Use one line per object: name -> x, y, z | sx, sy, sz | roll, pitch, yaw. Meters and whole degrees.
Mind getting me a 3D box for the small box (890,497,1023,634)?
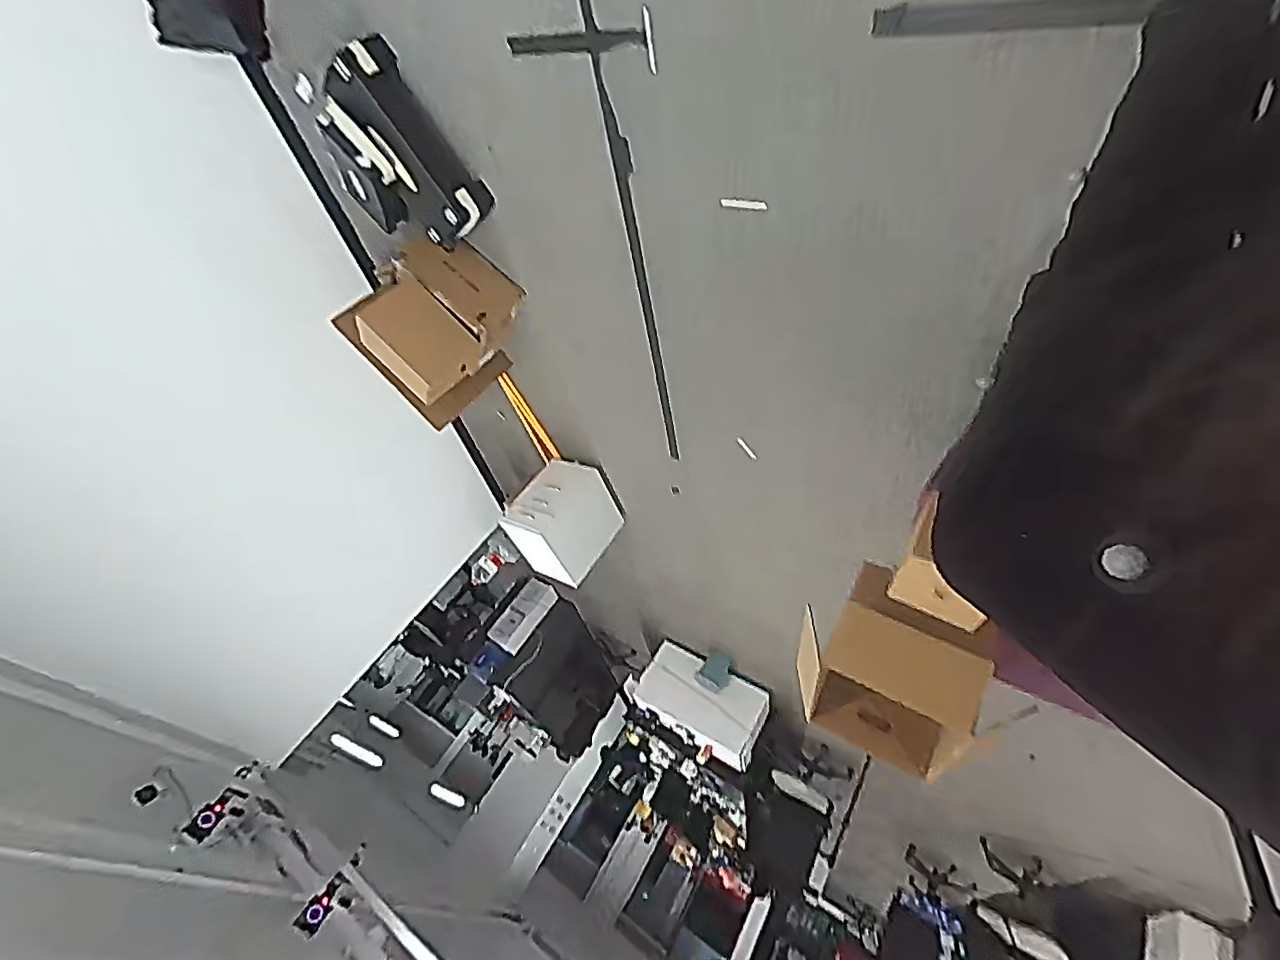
small box -> 0.625, 0.167, 1.072 | 0.168, 0.176, 0.179 | 23, 148, 23
